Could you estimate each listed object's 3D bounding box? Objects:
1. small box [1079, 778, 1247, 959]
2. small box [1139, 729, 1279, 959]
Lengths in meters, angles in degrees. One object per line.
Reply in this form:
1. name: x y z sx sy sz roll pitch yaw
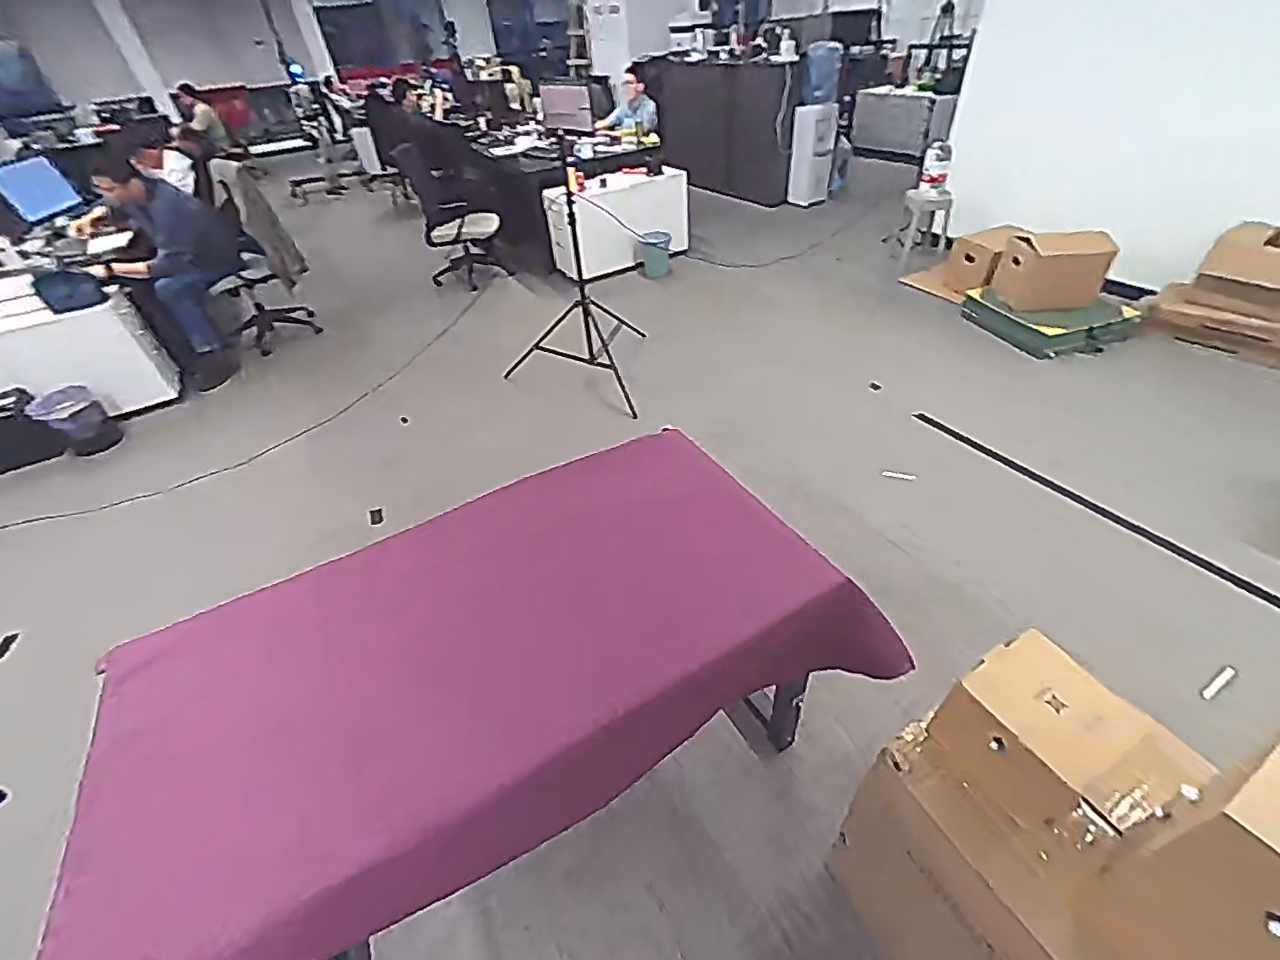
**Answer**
1. small box: 0.669 0.496 0.622 0.168 0.176 0.179 -29 45 -23
2. small box: 0.650 0.372 0.514 0.168 0.176 0.179 -25 42 -19
